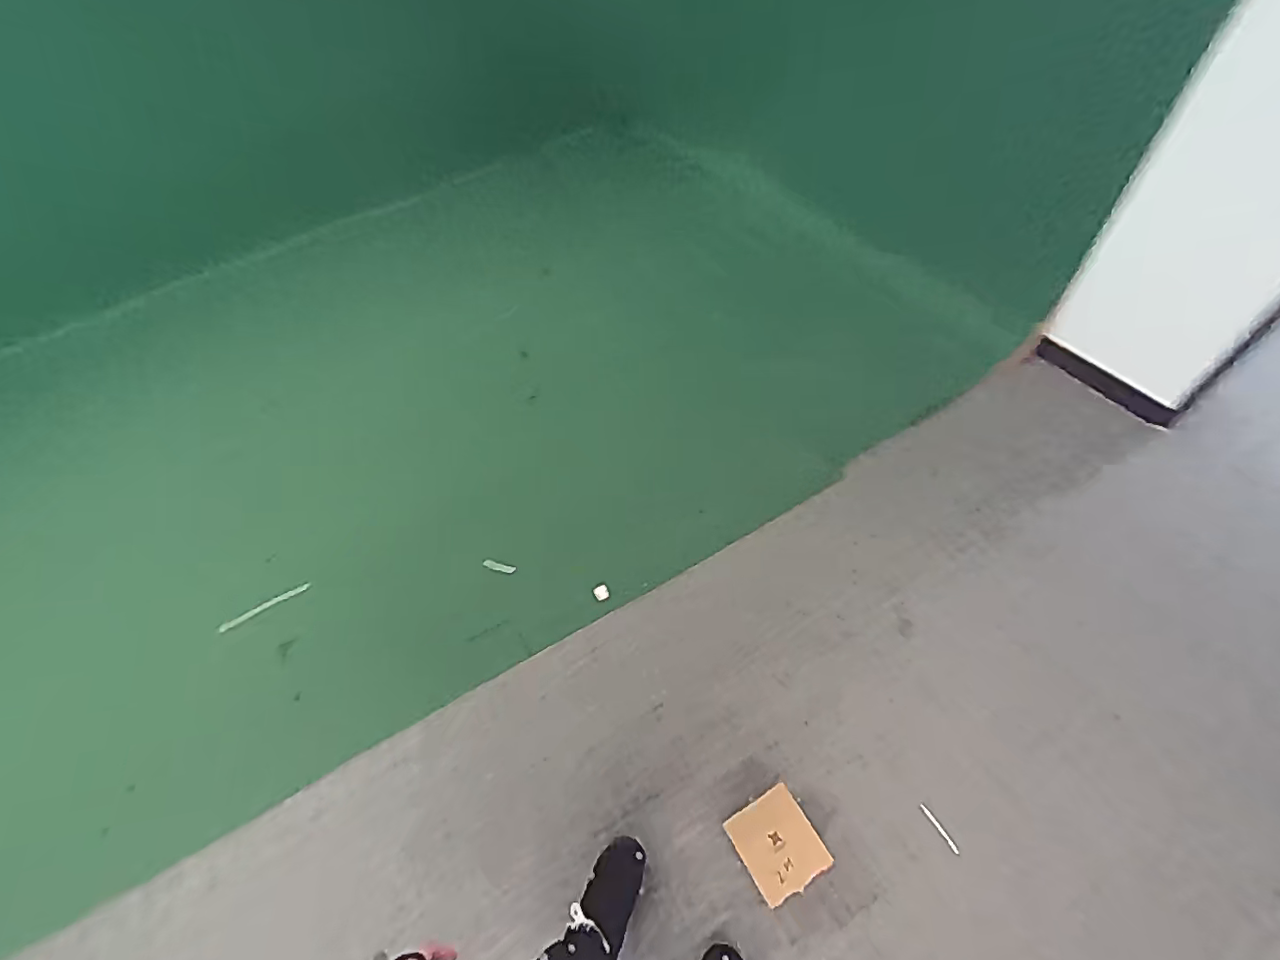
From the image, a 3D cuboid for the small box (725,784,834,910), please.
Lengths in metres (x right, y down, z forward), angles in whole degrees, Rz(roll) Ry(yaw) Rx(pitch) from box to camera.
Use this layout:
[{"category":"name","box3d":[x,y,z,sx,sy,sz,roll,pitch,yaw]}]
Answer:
[{"category":"small box","box3d":[0.304,0.825,1.218,0.168,0.176,0.179,-28,56,-11]}]
